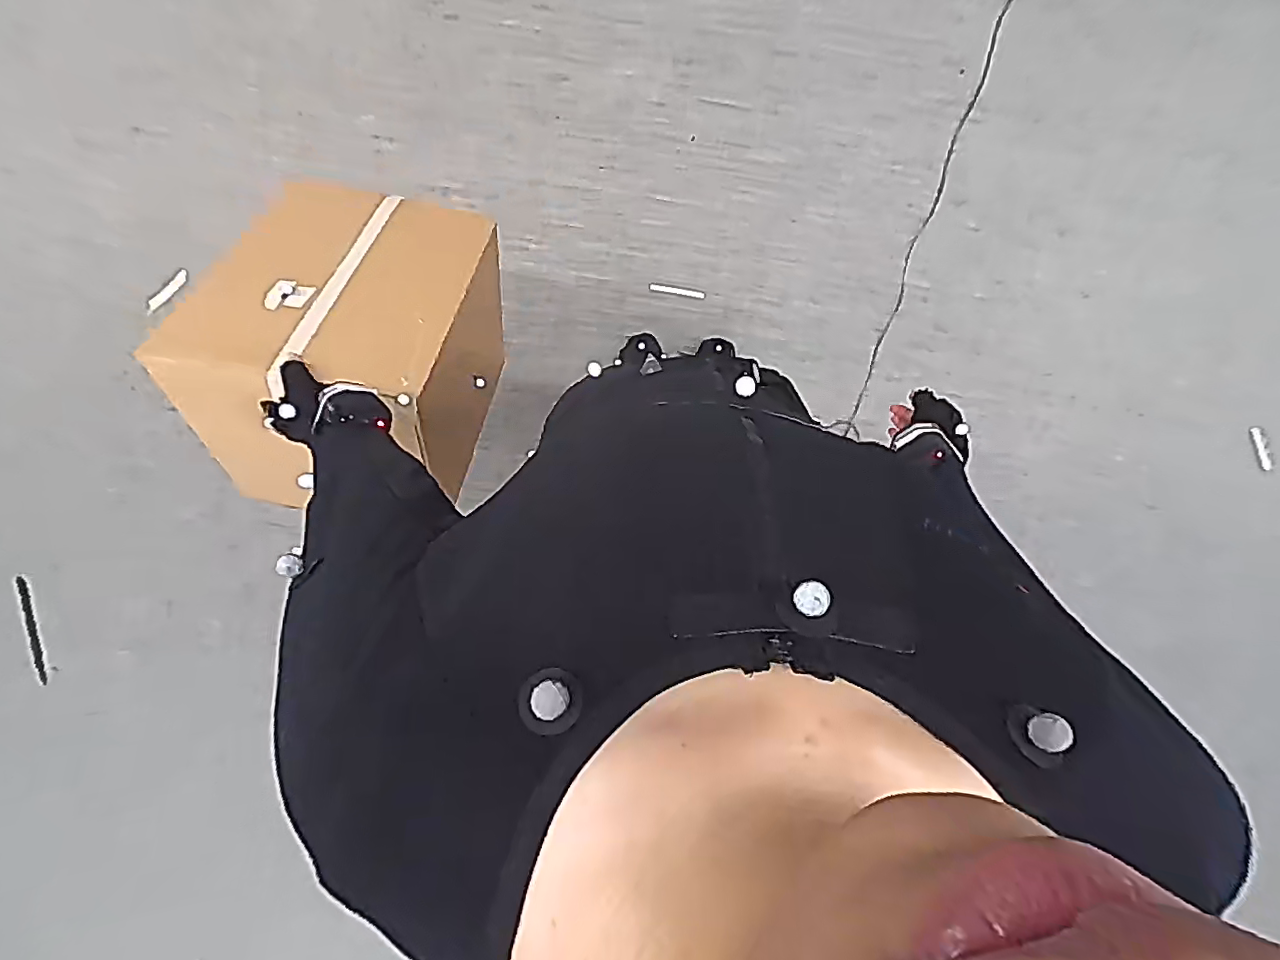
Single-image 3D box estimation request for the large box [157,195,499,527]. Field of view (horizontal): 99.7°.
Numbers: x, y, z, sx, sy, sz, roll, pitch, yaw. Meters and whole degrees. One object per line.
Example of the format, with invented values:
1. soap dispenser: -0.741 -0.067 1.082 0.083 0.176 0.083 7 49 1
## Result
1. large box: -0.430 -0.186 0.881 0.320 0.408 0.320 9 145 -4
